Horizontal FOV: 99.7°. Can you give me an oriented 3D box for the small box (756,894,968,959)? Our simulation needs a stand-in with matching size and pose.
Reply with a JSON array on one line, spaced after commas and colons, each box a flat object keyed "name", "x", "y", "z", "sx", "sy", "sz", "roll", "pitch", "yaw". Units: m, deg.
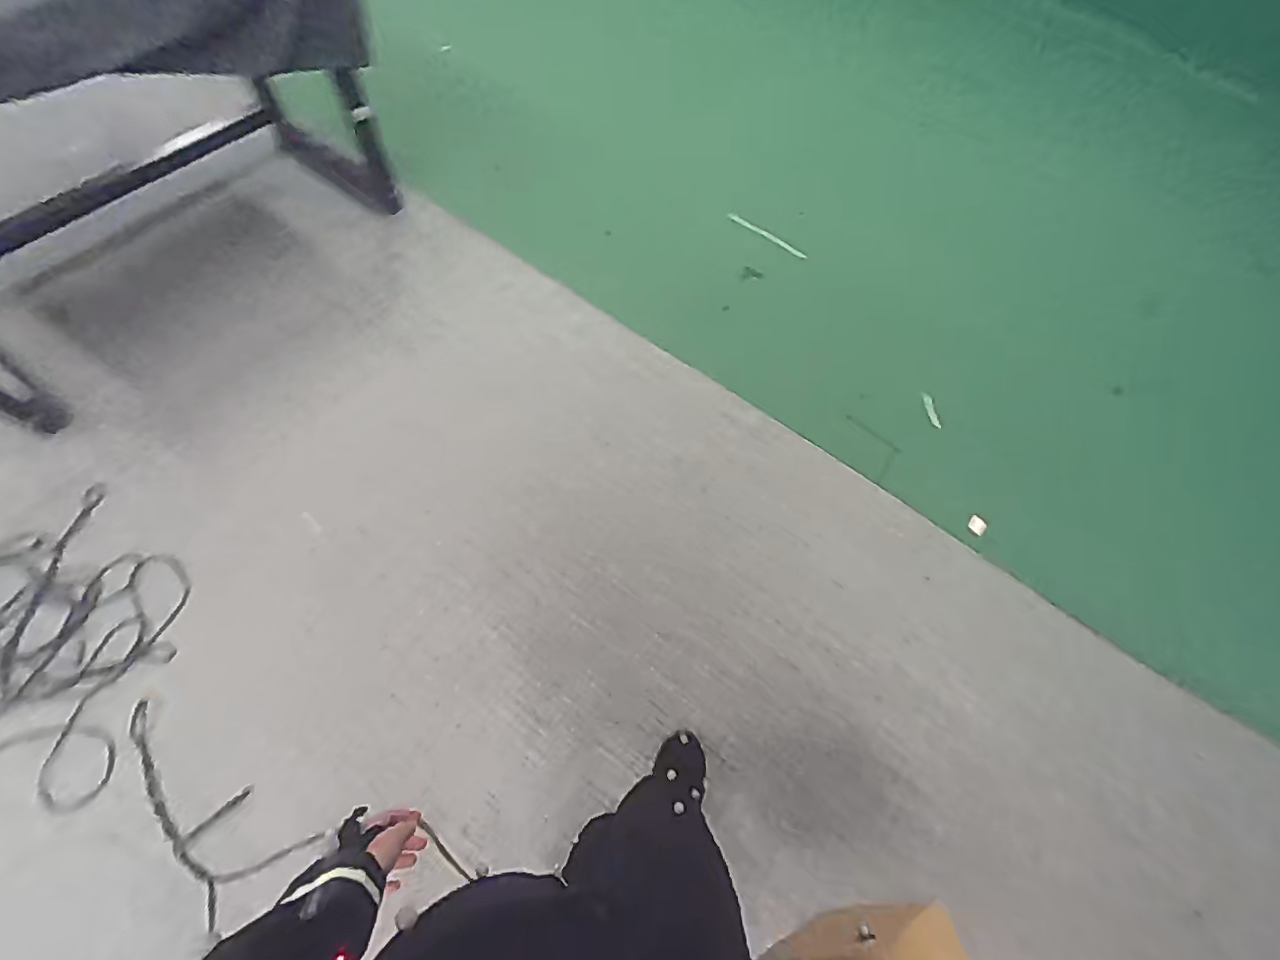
[{"name": "small box", "x": 0.249, "y": 0.565, "z": 0.565, "sx": 0.179, "sy": 0.176, "sz": 0.168, "roll": 13, "pitch": 48, "yaw": -43}]
